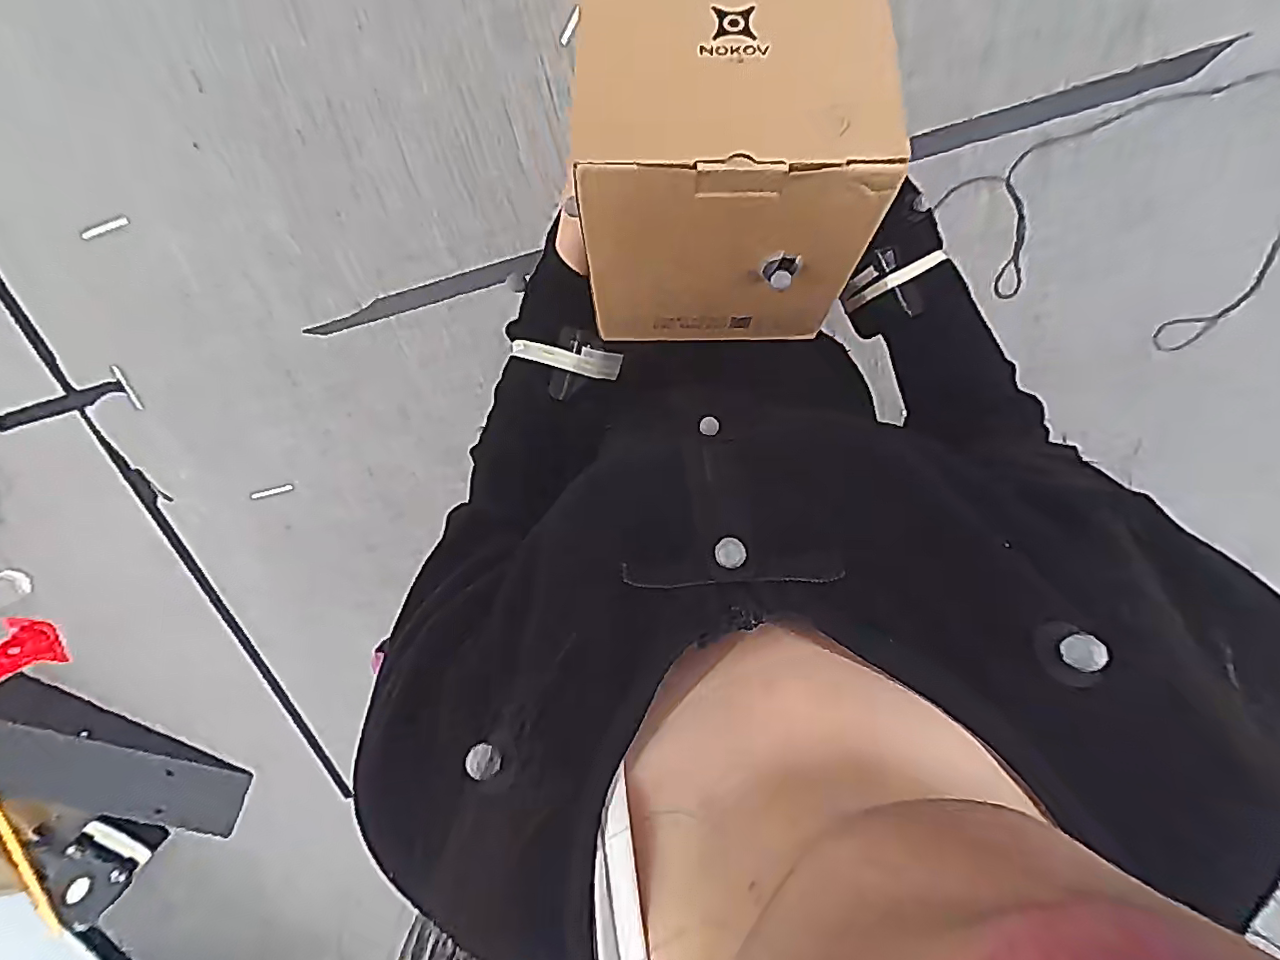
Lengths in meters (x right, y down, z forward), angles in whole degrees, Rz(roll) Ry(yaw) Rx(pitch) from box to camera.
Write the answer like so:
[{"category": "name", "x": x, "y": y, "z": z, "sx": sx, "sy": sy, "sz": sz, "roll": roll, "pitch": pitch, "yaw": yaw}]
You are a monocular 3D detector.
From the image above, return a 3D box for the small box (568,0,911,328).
[{"category": "small box", "x": 0.049, "y": -0.215, "z": 0.354, "sx": 0.168, "sy": 0.176, "sz": 0.179, "roll": 0, "pitch": 74, "yaw": 0}]
